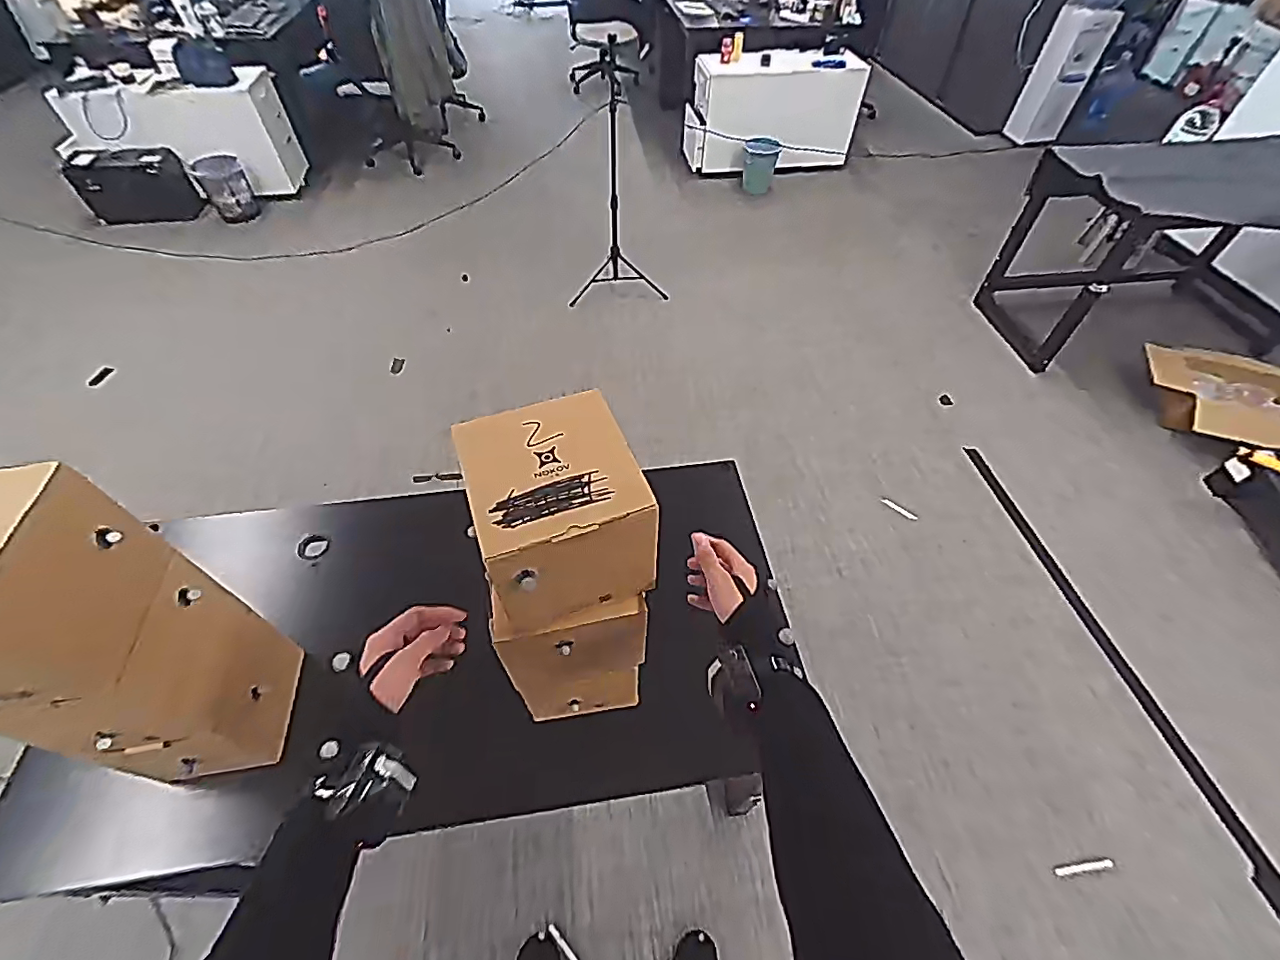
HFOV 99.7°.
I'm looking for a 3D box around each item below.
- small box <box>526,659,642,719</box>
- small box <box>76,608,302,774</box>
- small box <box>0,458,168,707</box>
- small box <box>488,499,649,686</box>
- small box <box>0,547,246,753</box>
[{"bbox_3d":[-0.093,0.247,0.838,0.168,0.176,0.179,-7,52,-6],"label":"small box"},{"bbox_3d":[-0.623,0.310,0.780,0.168,0.176,0.179,-7,52,-7],"label":"small box"},{"bbox_3d":[-0.618,0.104,0.525,0.168,0.176,0.179,-8,52,-6],"label":"small box"},{"bbox_3d":[-0.090,0.150,0.705,0.179,0.176,0.168,-9,53,-9],"label":"small box"},{"bbox_3d":[-0.621,0.206,0.652,0.168,0.176,0.179,-7,52,-6],"label":"small box"}]
